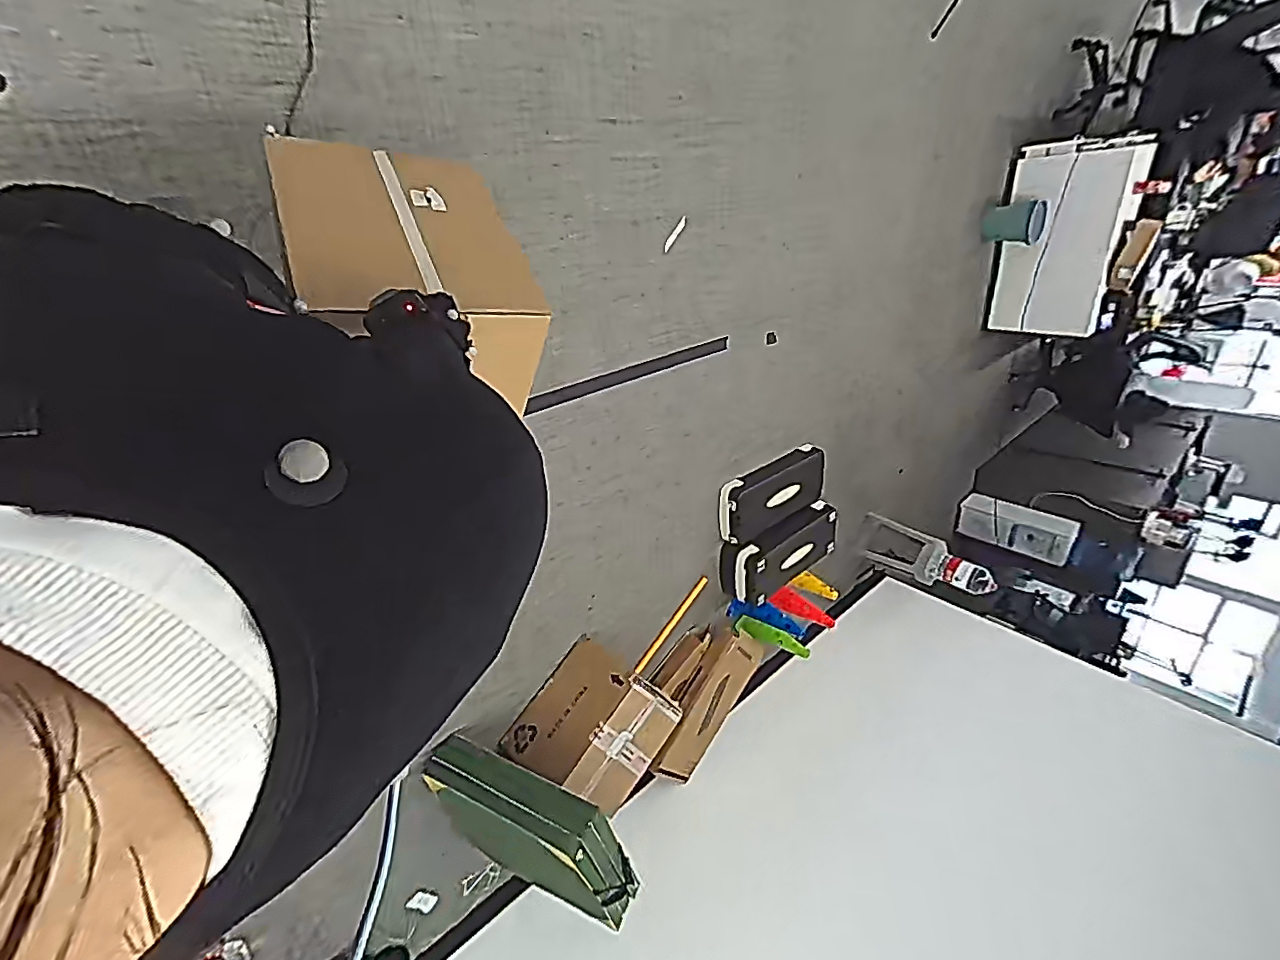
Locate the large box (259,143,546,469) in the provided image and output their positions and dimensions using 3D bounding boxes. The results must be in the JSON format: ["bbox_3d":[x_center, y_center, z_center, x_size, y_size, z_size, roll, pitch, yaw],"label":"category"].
[{"bbox_3d":[-0.400,-0.281,0.902,0.320,0.408,0.320,-11,148,-33],"label":"large box"}]
